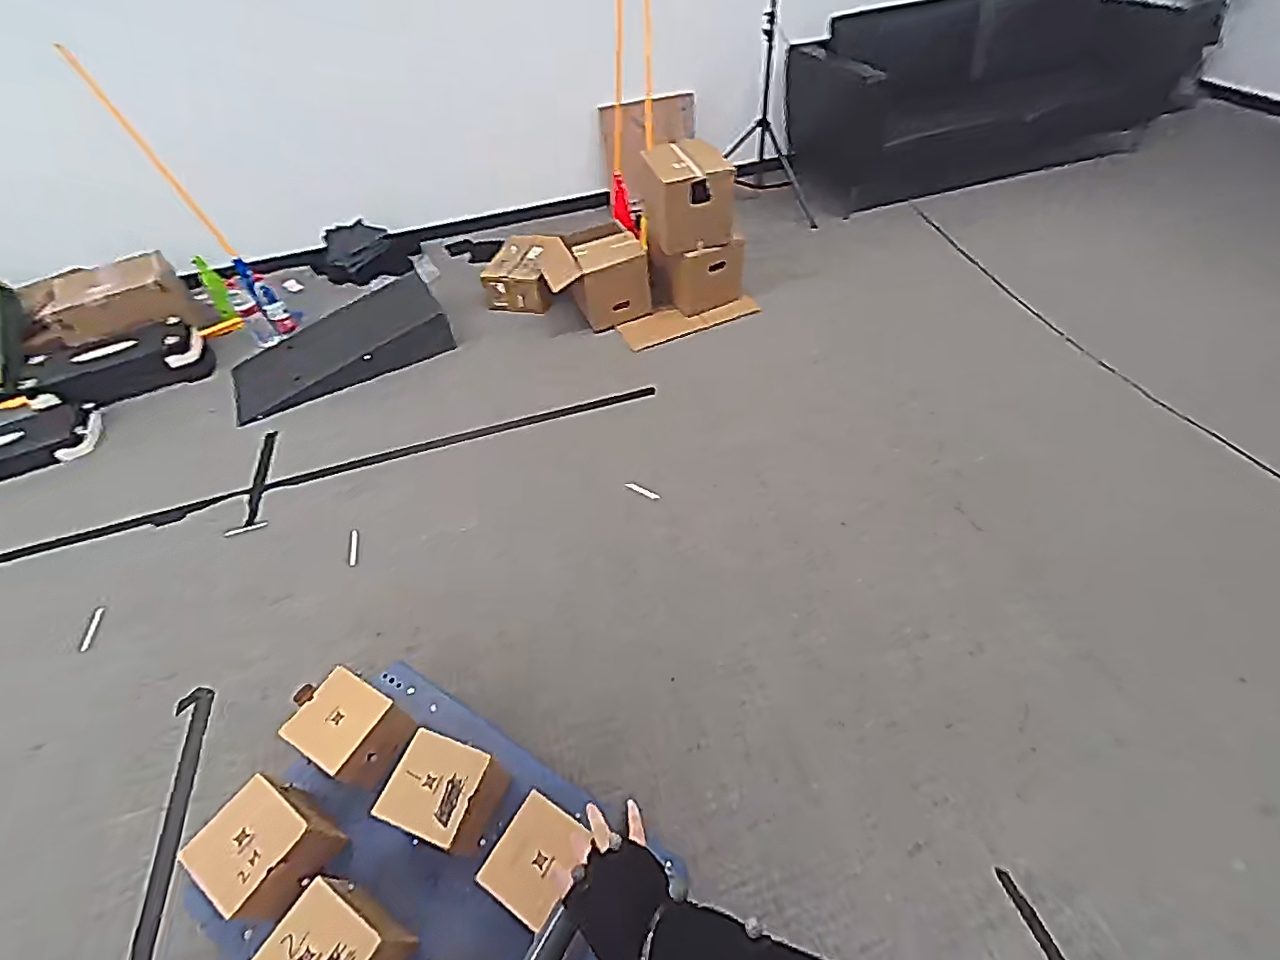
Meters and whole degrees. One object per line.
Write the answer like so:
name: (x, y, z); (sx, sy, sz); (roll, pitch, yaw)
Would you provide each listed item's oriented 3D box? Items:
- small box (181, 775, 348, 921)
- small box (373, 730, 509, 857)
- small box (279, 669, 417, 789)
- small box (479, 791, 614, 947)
small box: (-0.720, 0.721, 1.054); (0.179, 0.176, 0.168); (25, 55, 22)
small box: (-0.390, 0.642, 1.101); (0.179, 0.176, 0.168); (12, 51, 15)
small box: (-0.631, 0.555, 1.195); (0.179, 0.176, 0.168); (20, 54, 20)
small box: (-0.163, 0.726, 1.013); (0.179, 0.176, 0.168); (23, 54, 23)
